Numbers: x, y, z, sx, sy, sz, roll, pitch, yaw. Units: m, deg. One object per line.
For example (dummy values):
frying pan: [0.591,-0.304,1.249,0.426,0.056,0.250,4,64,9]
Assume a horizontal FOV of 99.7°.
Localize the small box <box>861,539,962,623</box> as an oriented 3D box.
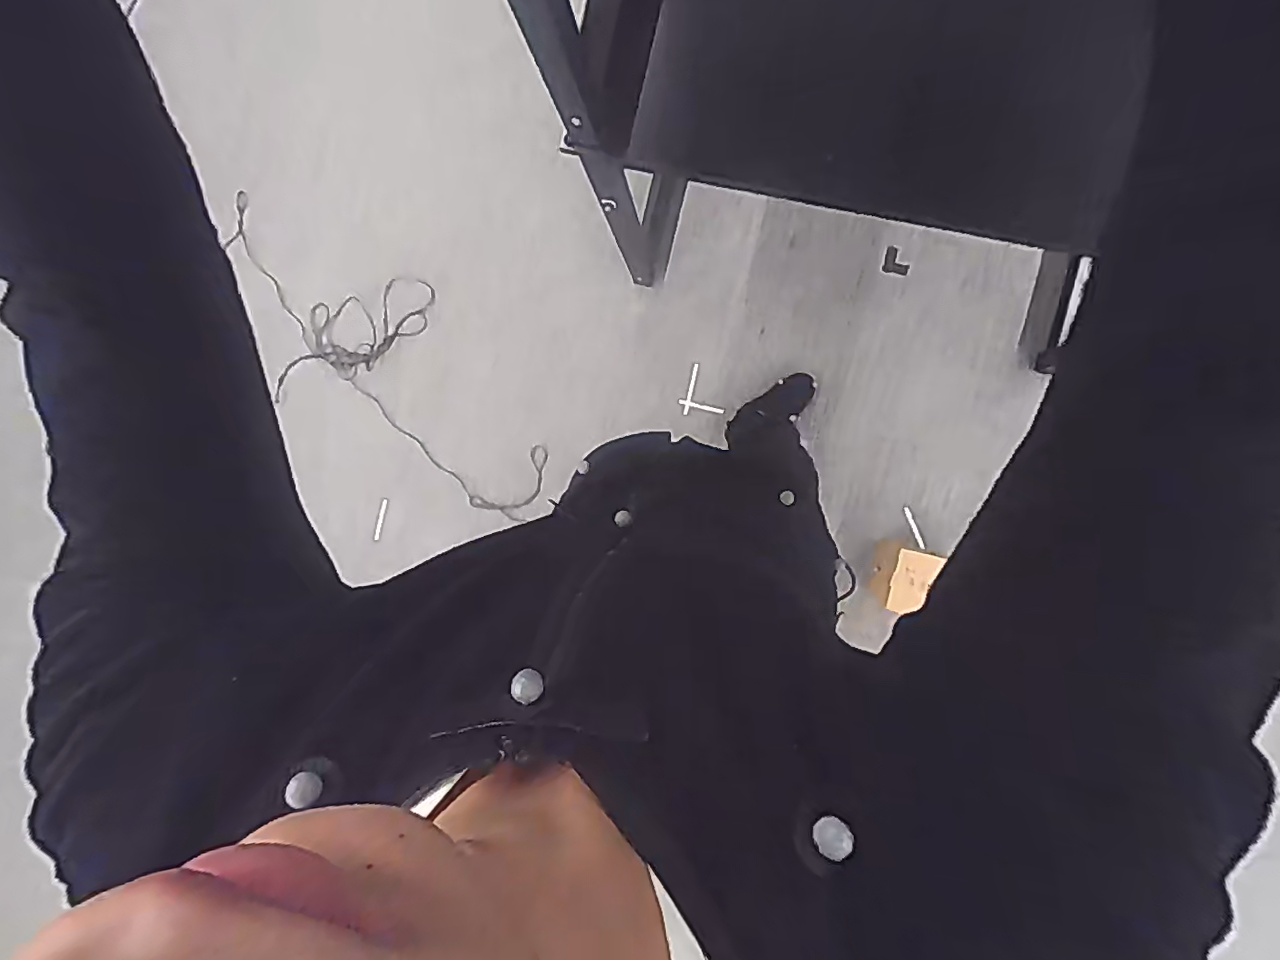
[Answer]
small box: [0.725,0.265,1.465,0.179,0.176,0.168,14,94,7]
